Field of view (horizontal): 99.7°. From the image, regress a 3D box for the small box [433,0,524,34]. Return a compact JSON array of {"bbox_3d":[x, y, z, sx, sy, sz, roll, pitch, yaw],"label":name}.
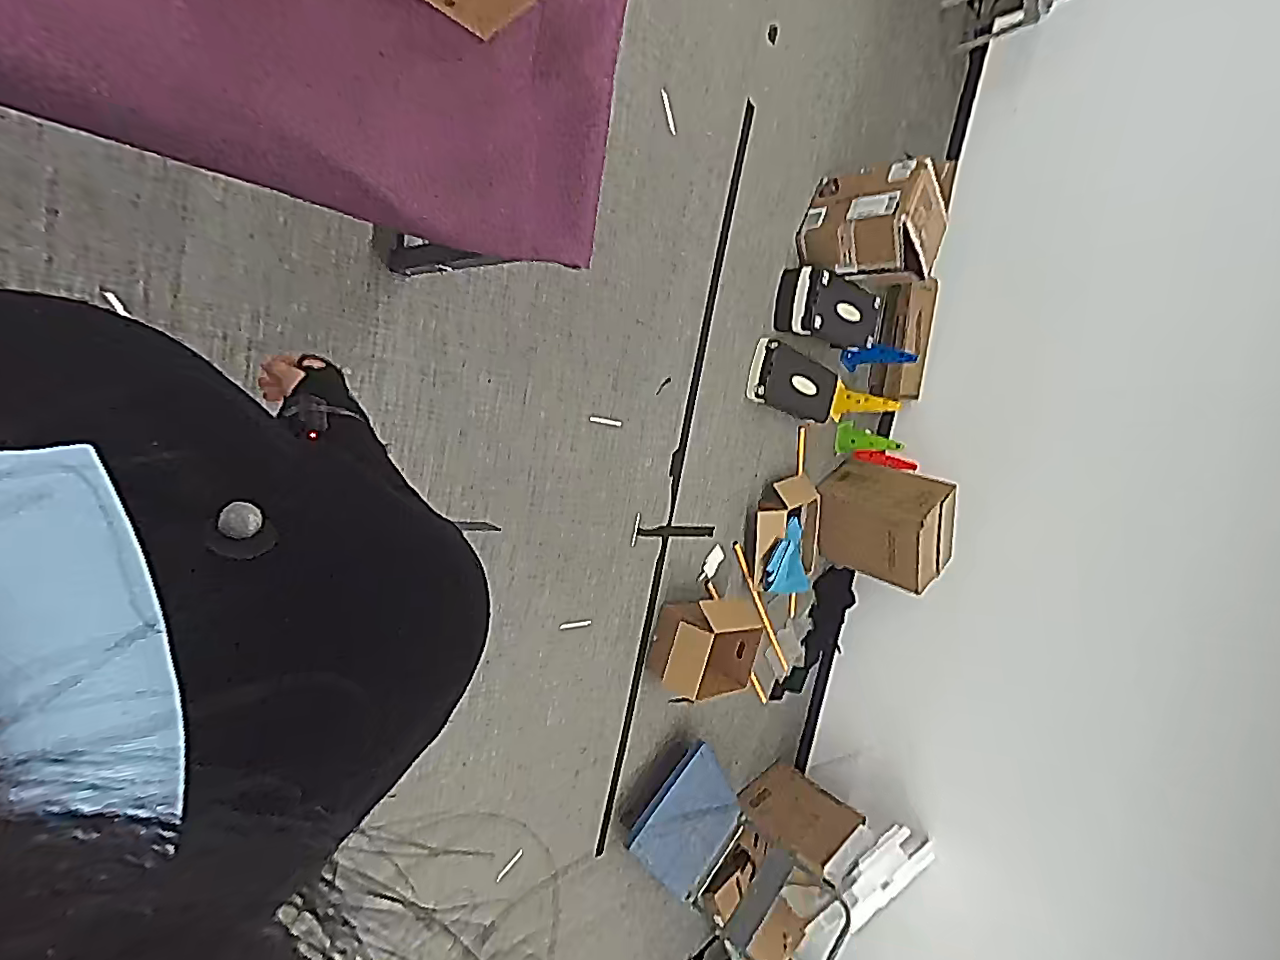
[{"bbox_3d":[-0.199,-0.667,0.613,0.168,0.176,0.179,4,99,-44],"label":"small box"}]
